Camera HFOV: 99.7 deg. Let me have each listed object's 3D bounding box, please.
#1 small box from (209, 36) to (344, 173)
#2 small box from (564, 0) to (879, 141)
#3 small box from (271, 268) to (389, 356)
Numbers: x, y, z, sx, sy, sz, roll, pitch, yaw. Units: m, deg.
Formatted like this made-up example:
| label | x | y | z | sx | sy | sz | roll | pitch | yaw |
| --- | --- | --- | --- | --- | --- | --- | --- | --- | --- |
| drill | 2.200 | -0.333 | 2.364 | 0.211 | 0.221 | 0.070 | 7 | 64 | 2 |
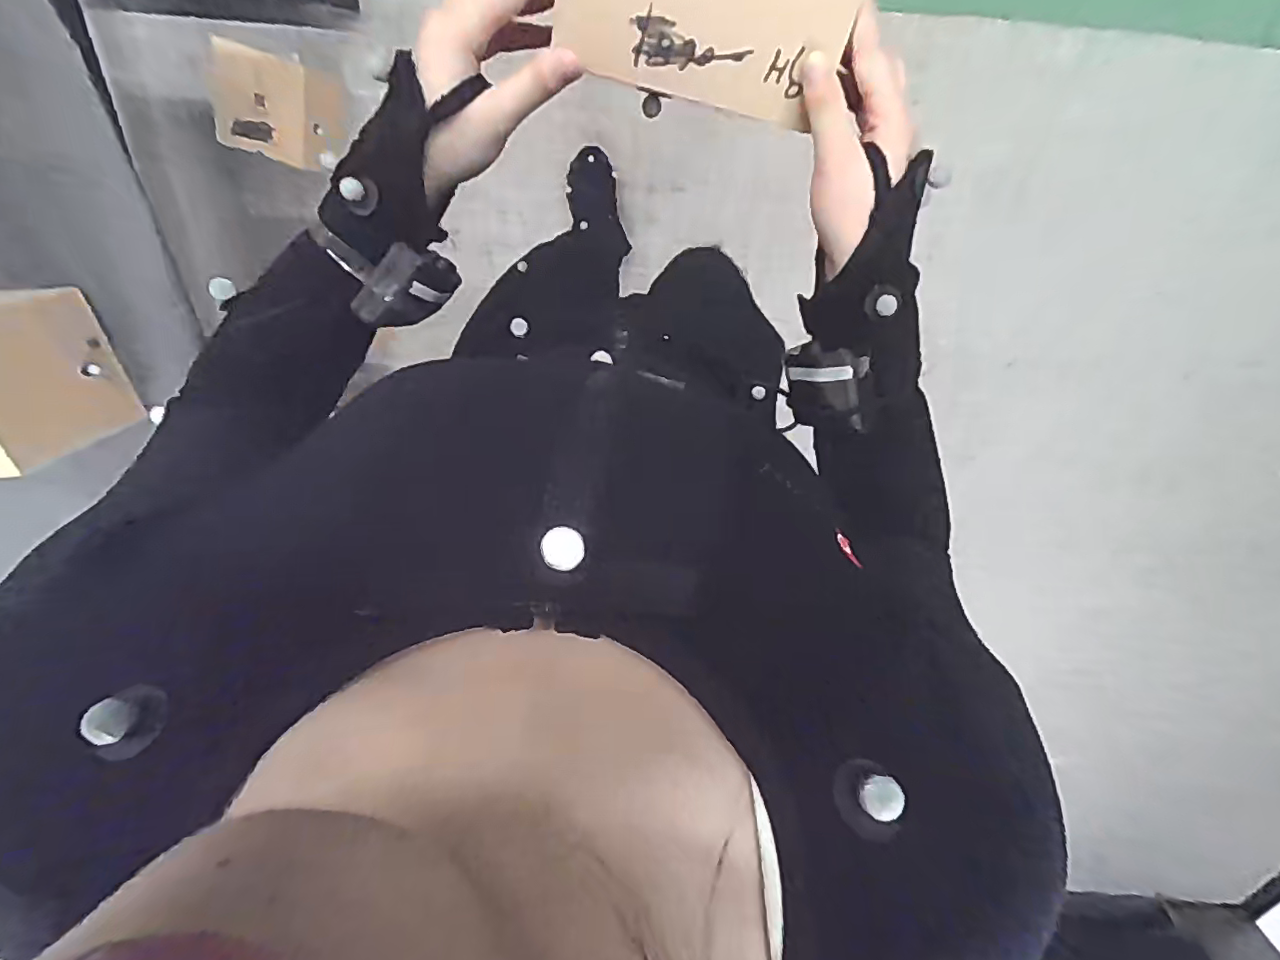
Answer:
| label | x | y | z | sx | sy | sz | roll | pitch | yaw |
| --- | --- | --- | --- | --- | --- | --- | --- | --- | --- |
| small box | -0.716 | -0.736 | 1.082 | 0.168 | 0.176 | 0.179 | 15 | 117 | -9 |
| small box | 0.050 | -0.337 | 0.331 | 0.168 | 0.176 | 0.179 | 9 | 127 | -10 |
| small box | -0.714 | -0.399 | 1.275 | 0.179 | 0.176 | 0.168 | 3 | 119 | 0 |
